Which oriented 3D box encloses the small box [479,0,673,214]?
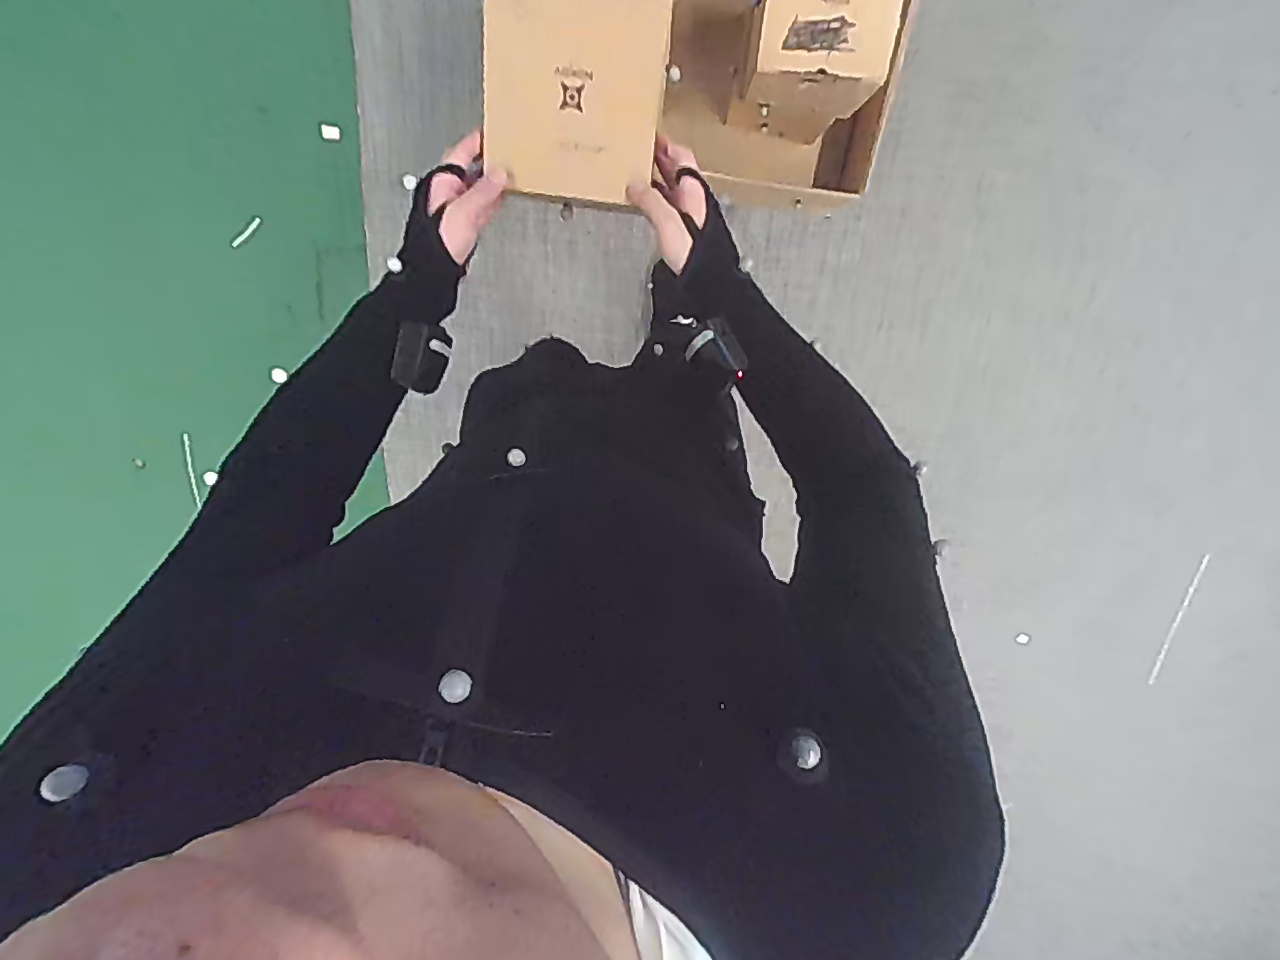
[{"bbox_3d":[-0.062,-0.391,0.567,0.168,0.176,0.179,7,113,-1],"label":"small box"}]

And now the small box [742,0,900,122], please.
[{"bbox_3d":[0.236,-0.606,0.725,0.168,0.176,0.179,7,110,1],"label":"small box"}]

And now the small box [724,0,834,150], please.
[{"bbox_3d":[0.239,-0.667,0.878,0.168,0.176,0.179,11,110,-1],"label":"small box"}]
